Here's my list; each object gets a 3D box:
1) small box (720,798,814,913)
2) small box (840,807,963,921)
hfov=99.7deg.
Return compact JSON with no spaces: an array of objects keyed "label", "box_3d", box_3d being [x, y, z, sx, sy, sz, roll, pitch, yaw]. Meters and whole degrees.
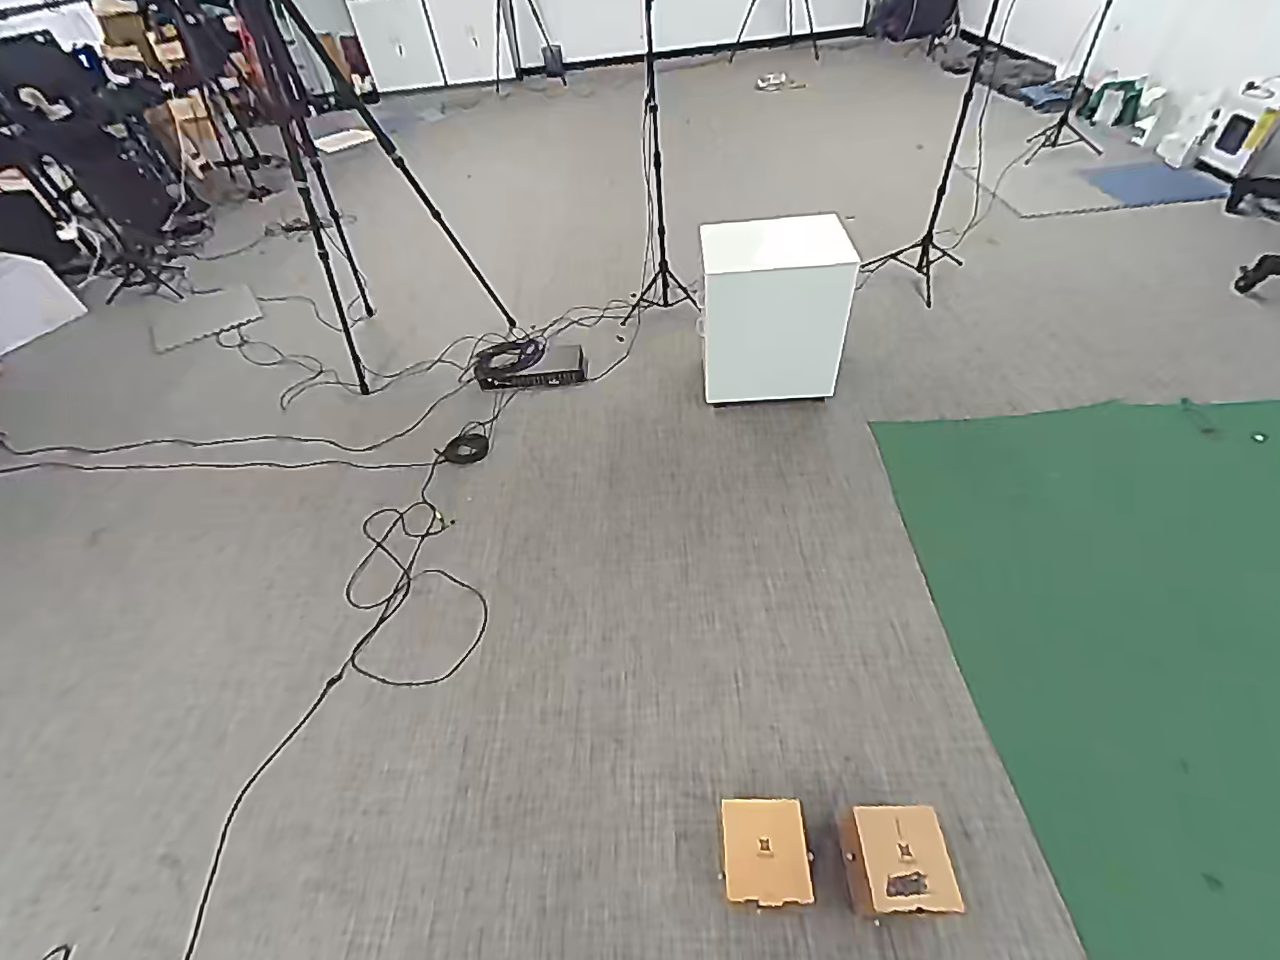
[{"label":"small box","box_3d":[0.258,0.794,1.144,0.168,0.176,0.179,-2,48,5]},{"label":"small box","box_3d":[0.525,0.793,1.114,0.168,0.176,0.179,-2,46,5]}]
